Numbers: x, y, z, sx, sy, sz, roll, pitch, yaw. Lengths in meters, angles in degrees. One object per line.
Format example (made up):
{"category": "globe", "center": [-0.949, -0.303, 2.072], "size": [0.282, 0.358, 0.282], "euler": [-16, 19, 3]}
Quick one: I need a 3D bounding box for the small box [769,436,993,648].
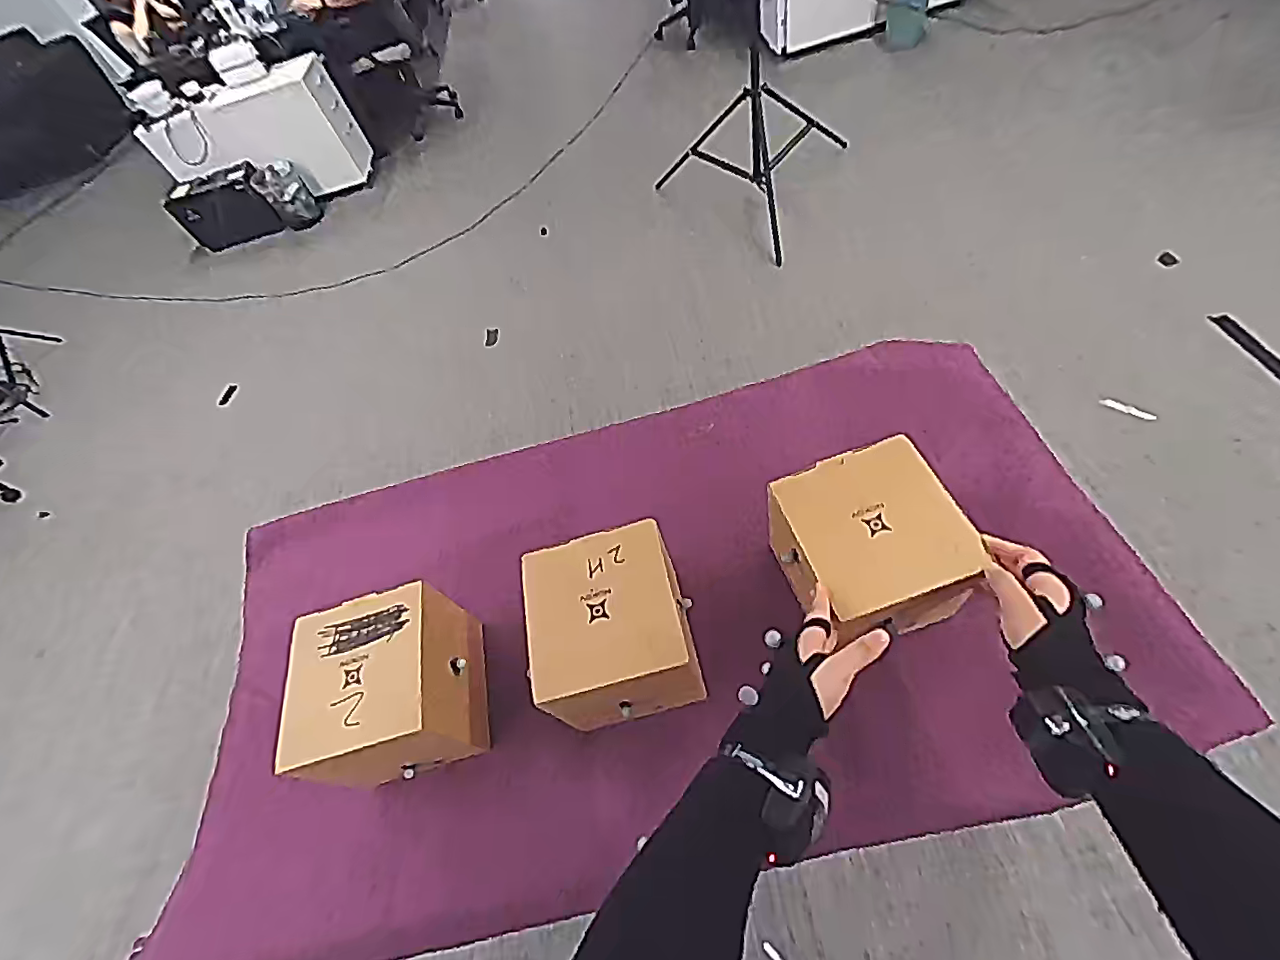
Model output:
{"category": "small box", "center": [0.267, 0.084, 0.643], "size": [0.168, 0.176, 0.179], "euler": [-21, 56, 1]}

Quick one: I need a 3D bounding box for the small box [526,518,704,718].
{"category": "small box", "center": [-0.026, 0.177, 0.657], "size": [0.168, 0.176, 0.179], "euler": [-16, 54, 3]}
